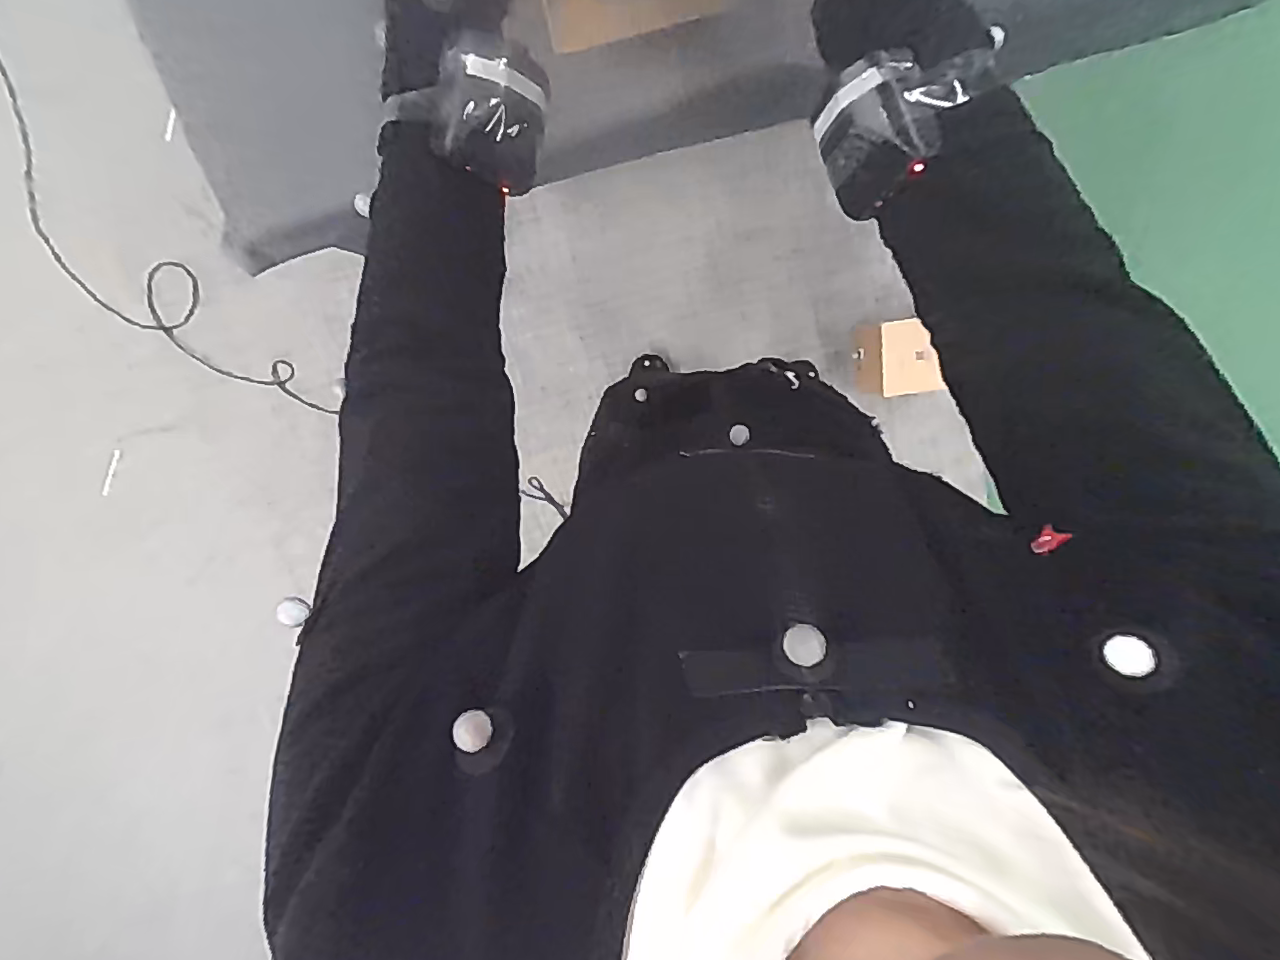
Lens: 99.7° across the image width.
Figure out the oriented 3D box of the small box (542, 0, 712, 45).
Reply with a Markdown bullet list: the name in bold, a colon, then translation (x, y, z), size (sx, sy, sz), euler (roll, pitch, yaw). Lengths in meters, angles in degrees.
- **small box**: translation (-0.021, -0.525, 0.468), size (0.179, 0.176, 0.168), euler (-12, 103, 3)

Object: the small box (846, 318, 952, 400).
- **small box**: translation (0.609, -0.288, 1.283), size (0.179, 0.176, 0.168), euler (-7, 103, 3)
